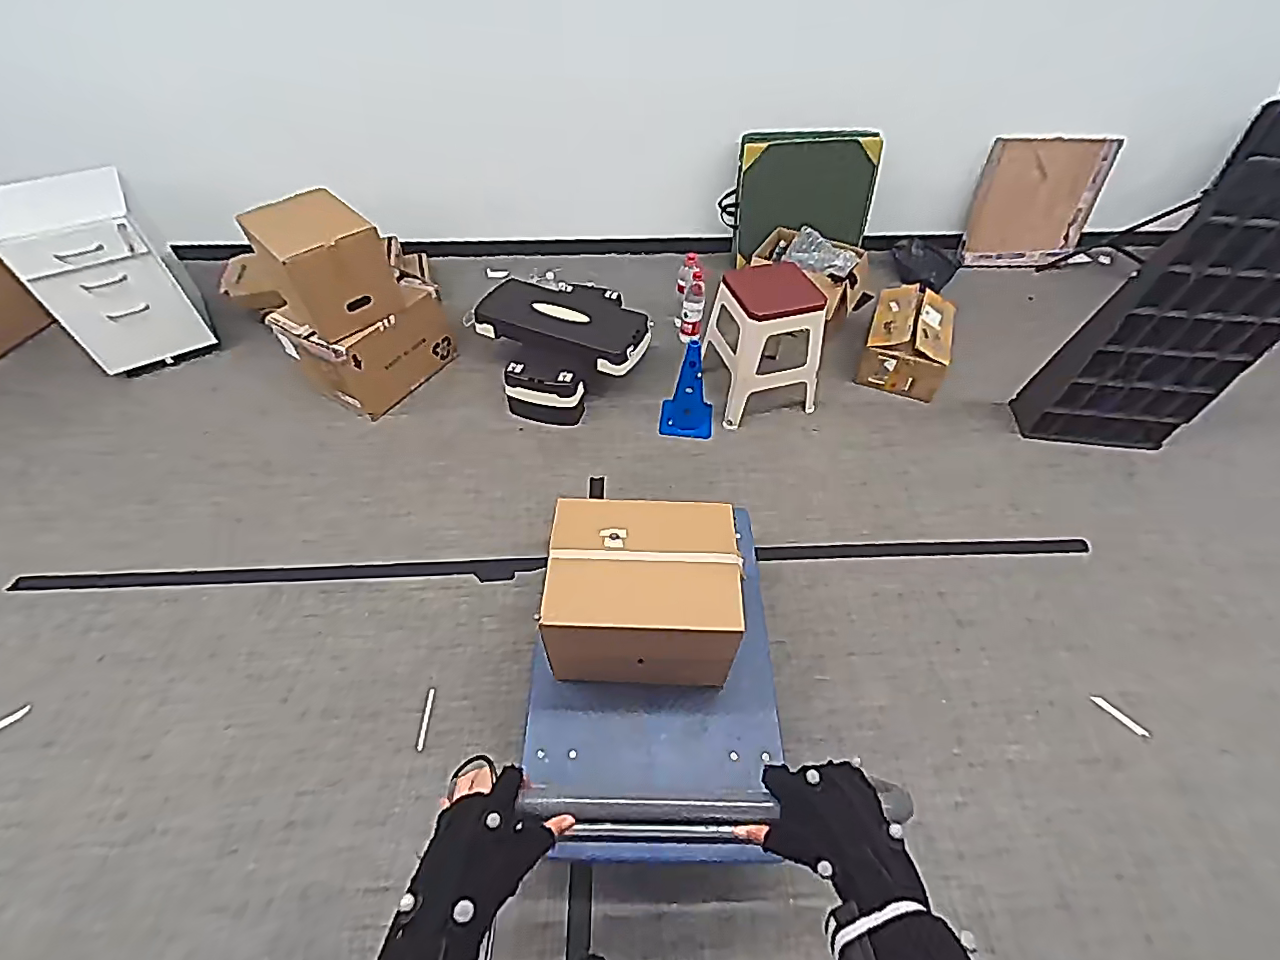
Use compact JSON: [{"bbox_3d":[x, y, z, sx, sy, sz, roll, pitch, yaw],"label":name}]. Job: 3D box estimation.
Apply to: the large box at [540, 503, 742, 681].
[{"bbox_3d":[0.005,0.268,1.267,0.408,0.320,0.320,2,50,1],"label":"large box"}]
